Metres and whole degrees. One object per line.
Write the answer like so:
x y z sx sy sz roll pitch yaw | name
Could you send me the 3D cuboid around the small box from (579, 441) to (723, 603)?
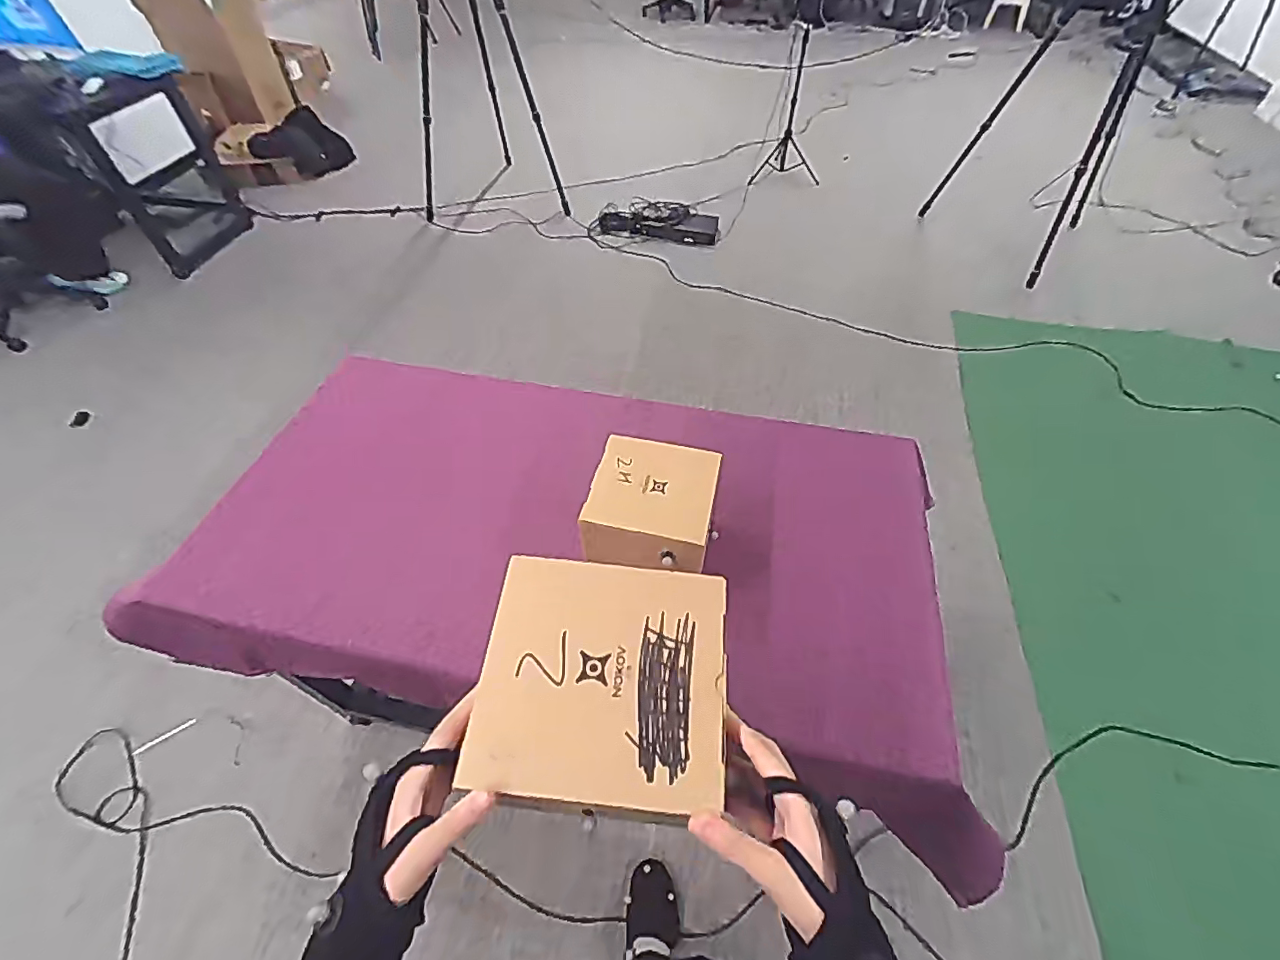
0.020 0.068 0.824 0.179 0.176 0.168 10 51 9 | small box
